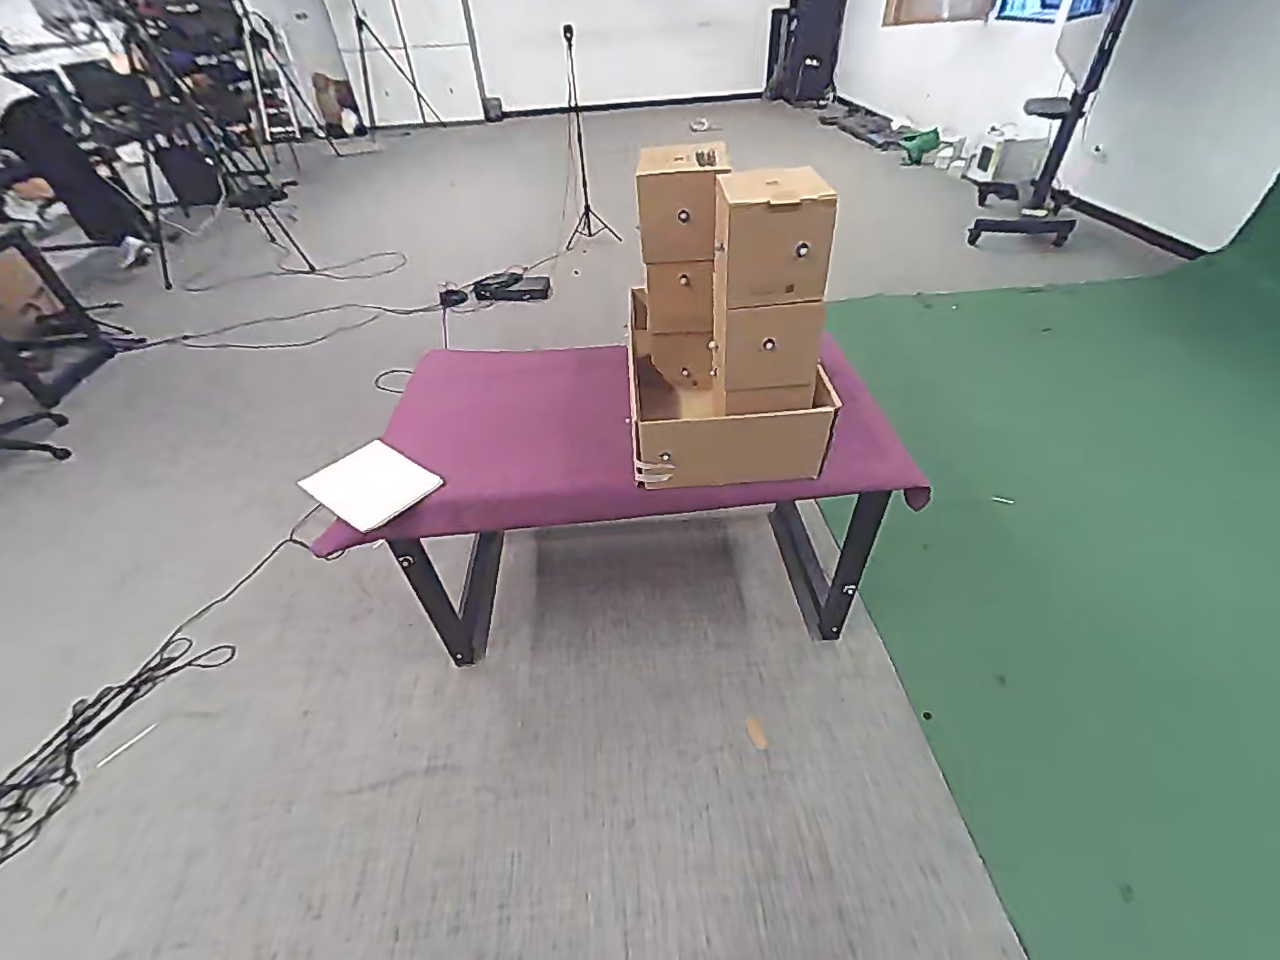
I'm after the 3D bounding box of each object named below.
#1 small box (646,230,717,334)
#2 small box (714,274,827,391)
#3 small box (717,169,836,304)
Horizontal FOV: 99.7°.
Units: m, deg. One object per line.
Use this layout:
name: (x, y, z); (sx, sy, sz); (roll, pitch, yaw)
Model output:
small box: (0.109, -0.442, 1.214); (0.179, 0.176, 0.168); (-1, 46, 5)
small box: (0.236, -0.287, 1.029); (0.179, 0.176, 0.168); (-5, 42, 3)
small box: (0.222, -0.411, 0.924); (0.168, 0.176, 0.179); (-3, 42, 3)
